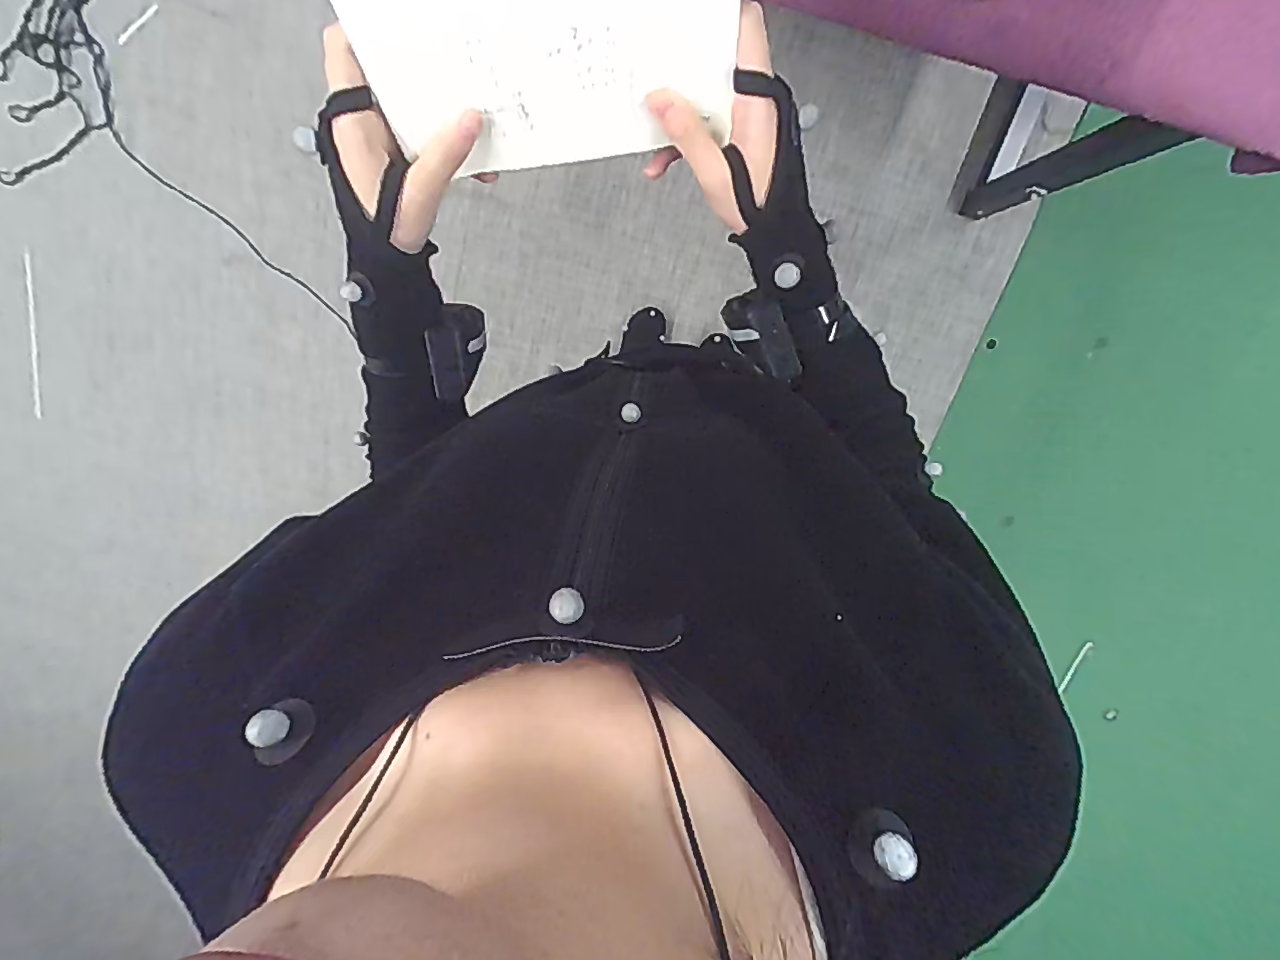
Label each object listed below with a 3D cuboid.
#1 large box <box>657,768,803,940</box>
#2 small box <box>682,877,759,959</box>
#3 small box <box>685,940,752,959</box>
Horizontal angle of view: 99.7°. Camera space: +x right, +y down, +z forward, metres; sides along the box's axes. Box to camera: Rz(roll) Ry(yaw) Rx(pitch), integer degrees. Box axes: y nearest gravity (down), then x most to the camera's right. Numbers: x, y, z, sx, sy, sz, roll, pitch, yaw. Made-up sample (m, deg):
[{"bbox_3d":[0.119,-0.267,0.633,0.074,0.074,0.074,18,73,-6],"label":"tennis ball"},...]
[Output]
[{"bbox_3d":[0.256,1.143,1.679,0.408,0.320,0.320,2,107,3],"label":"large box"},{"bbox_3d":[0.209,1.208,1.446,0.179,0.176,0.168,6,105,3],"label":"small box"},{"bbox_3d":[0.186,1.254,1.291,0.168,0.176,0.179,8,105,3],"label":"small box"}]
